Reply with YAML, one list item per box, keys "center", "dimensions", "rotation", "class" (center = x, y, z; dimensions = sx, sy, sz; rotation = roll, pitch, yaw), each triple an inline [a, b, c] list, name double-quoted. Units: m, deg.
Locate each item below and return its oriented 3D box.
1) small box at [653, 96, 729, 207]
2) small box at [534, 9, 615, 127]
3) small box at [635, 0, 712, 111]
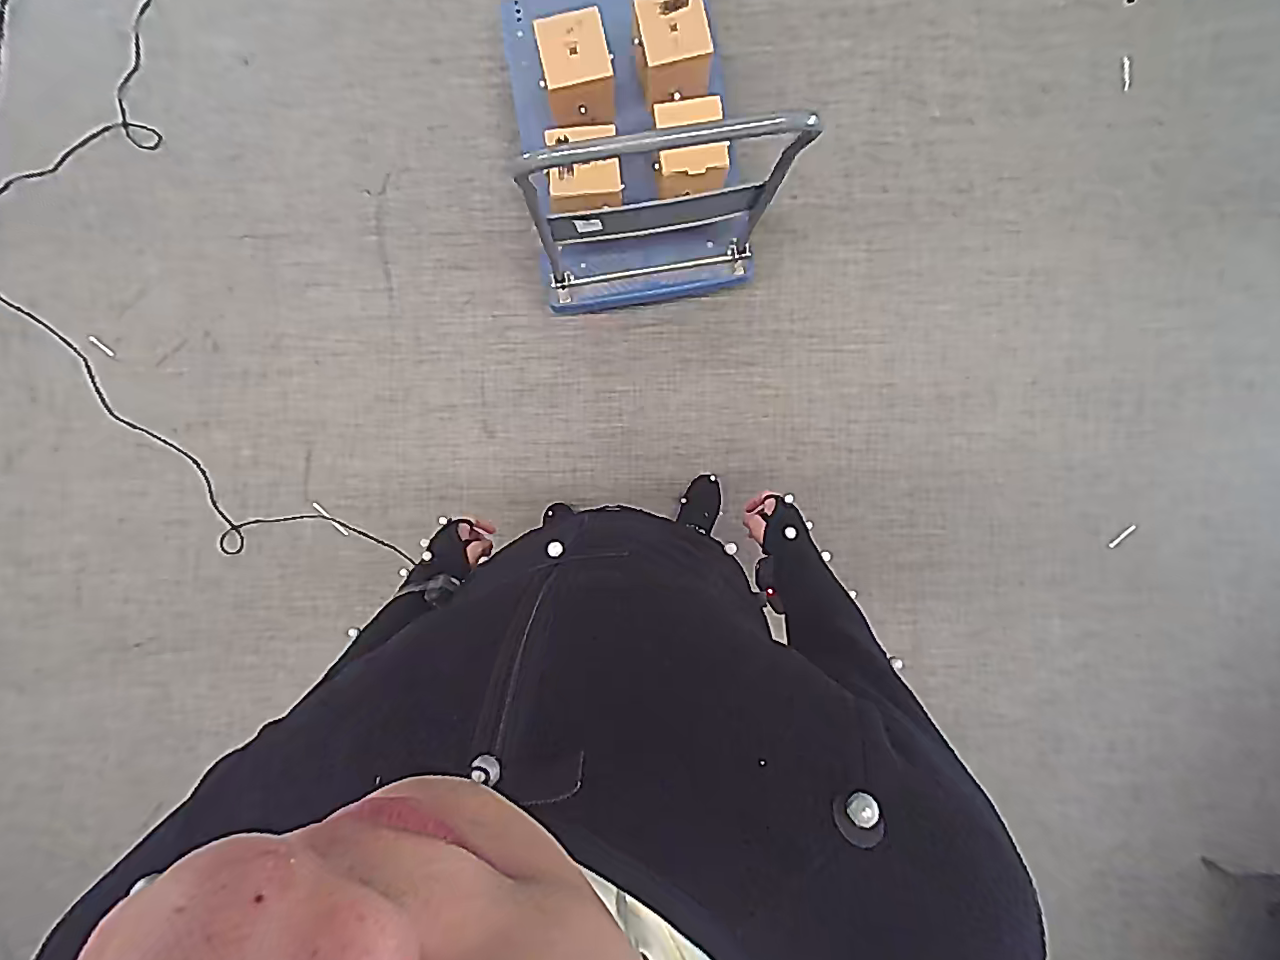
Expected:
- center: [0.126, -0.847, 1.406]
  dimensions: [0.168, 0.176, 0.179]
  rotation: [-9, 90, 0]
  class: "small box"
- center: [-0.163, -1.056, 1.406]
  dimensions: [0.168, 0.176, 0.179]
  rotation: [-13, 90, -1]
  class: "small box"
- center: [0.082, -1.114, 1.405]
  dimensions: [0.168, 0.176, 0.179]
  rotation: [-13, 91, 1]
  class: "small box"
